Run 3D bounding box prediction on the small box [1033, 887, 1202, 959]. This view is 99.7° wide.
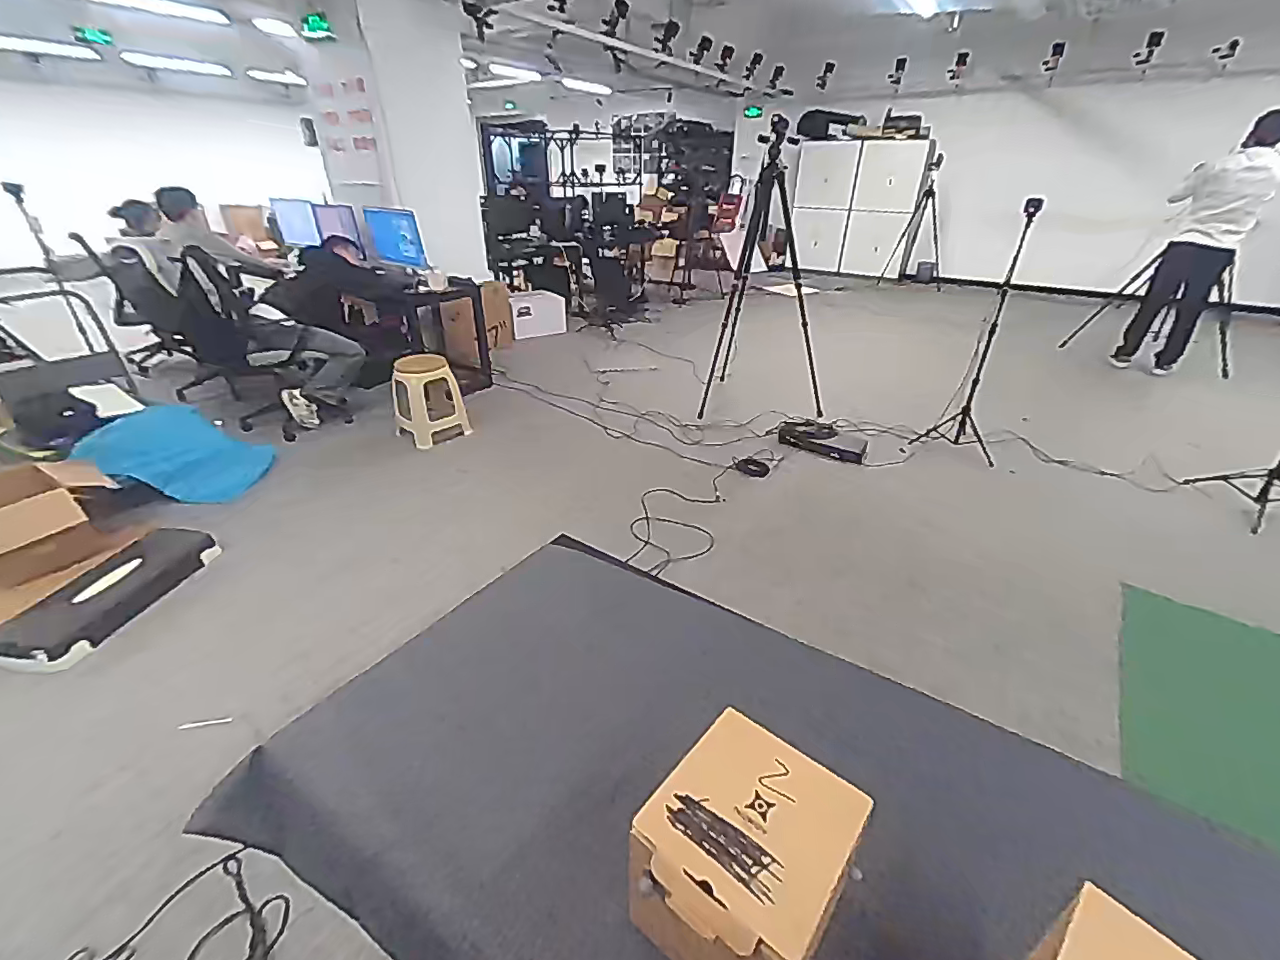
[{"bbox_3d":[0.379,0.472,0.399,0.168,0.176,0.179,-21,35,-35],"label":"small box"}]
